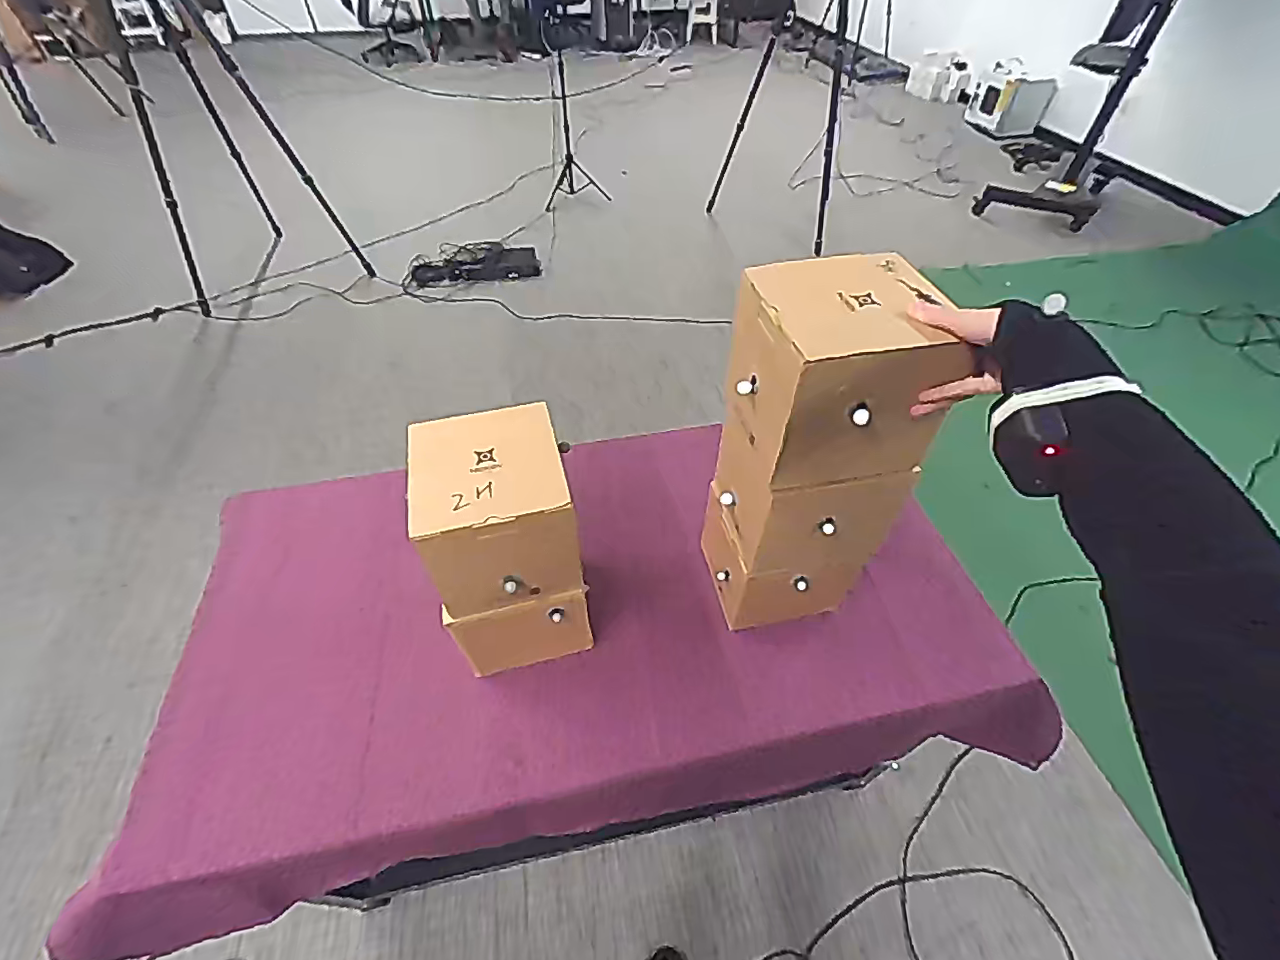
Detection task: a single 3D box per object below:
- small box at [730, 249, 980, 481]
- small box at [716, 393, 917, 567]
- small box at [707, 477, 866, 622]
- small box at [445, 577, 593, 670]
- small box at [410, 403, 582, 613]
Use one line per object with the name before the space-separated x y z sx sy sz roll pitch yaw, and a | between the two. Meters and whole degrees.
small box | 0.201 -0.117 0.571 0.179 0.176 0.168 -10 50 -7
small box | 0.208 -0.009 0.697 0.179 0.176 0.168 -9 51 -7
small box | 0.205 0.098 0.822 0.179 0.176 0.168 -9 50 -8
small box | -0.173 0.151 0.781 0.179 0.176 0.168 -12 50 -11
small box | -0.171 0.034 0.664 0.168 0.176 0.179 -12 50 -10
